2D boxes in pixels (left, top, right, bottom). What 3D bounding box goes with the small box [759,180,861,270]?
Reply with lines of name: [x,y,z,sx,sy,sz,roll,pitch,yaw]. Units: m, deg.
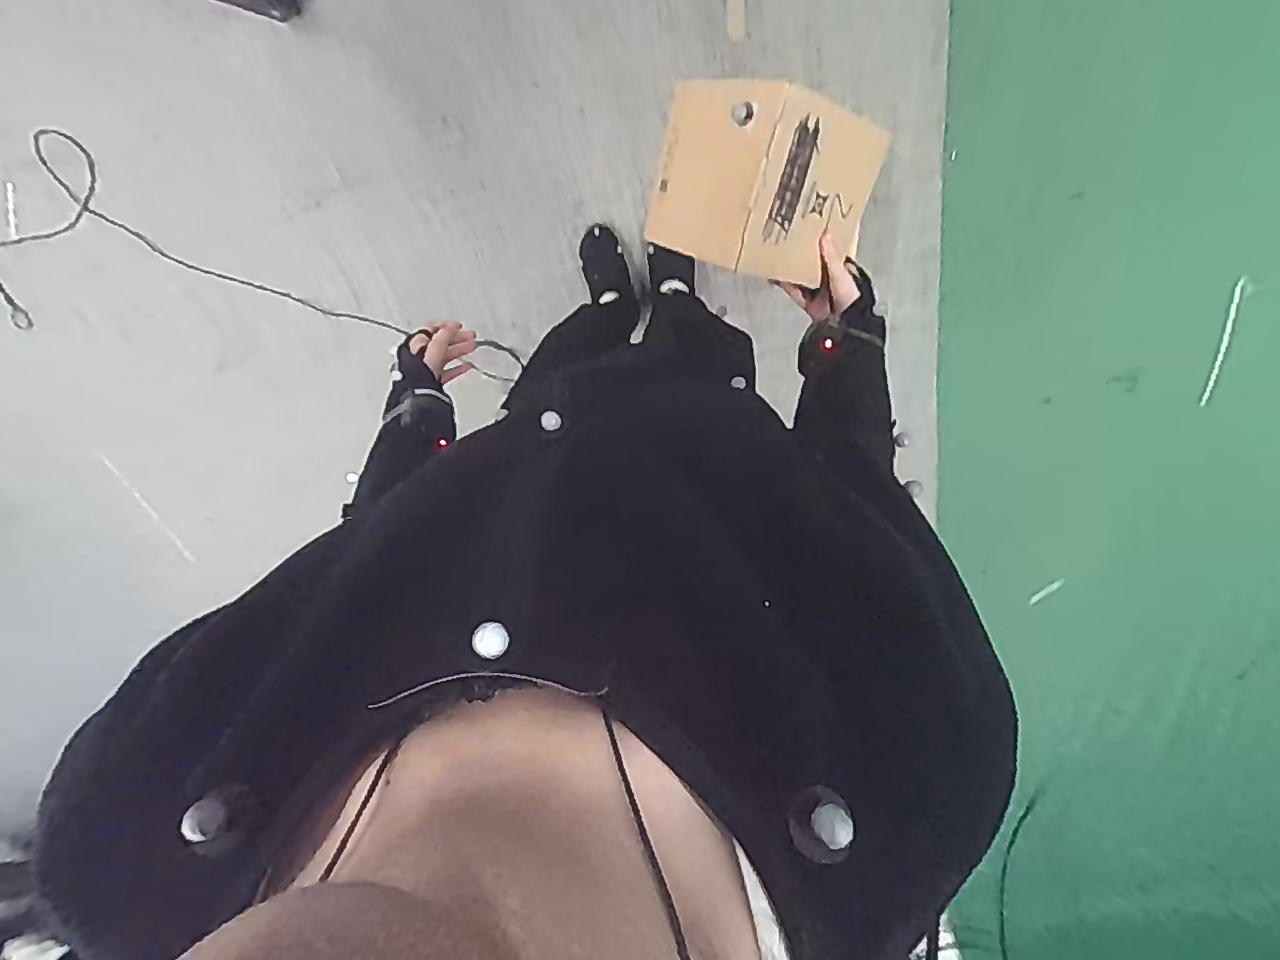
small box: [0.360,-0.560,1.184,0.179,0.176,0.168,0,121,5]
